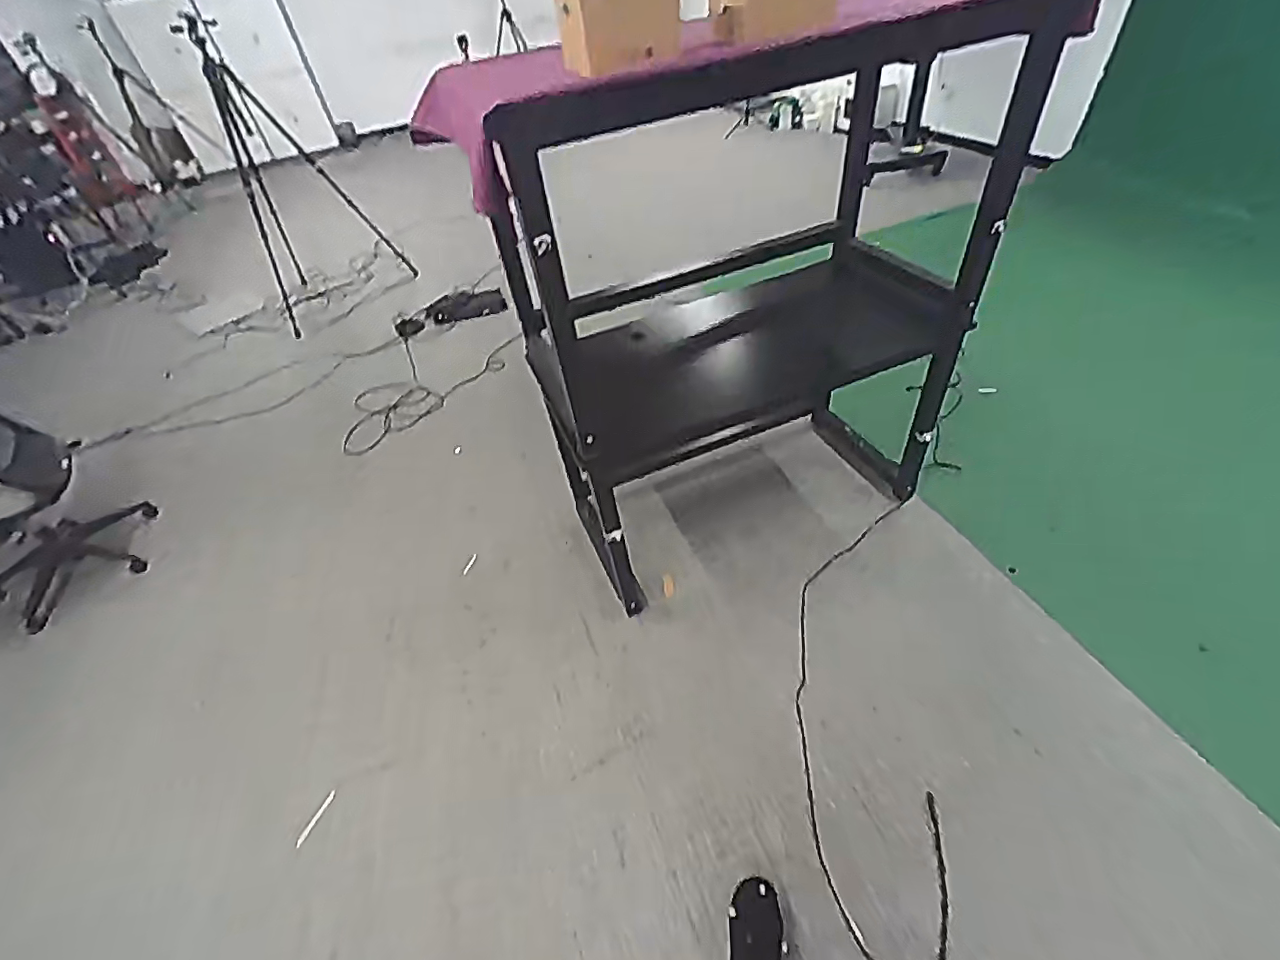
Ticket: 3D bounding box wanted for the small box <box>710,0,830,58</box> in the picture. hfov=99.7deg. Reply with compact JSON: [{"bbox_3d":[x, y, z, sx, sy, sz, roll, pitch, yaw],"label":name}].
[{"bbox_3d":[0.228,-0.881,0.965,0.179,0.176,0.168,-18,43,-6],"label":"small box"}]
